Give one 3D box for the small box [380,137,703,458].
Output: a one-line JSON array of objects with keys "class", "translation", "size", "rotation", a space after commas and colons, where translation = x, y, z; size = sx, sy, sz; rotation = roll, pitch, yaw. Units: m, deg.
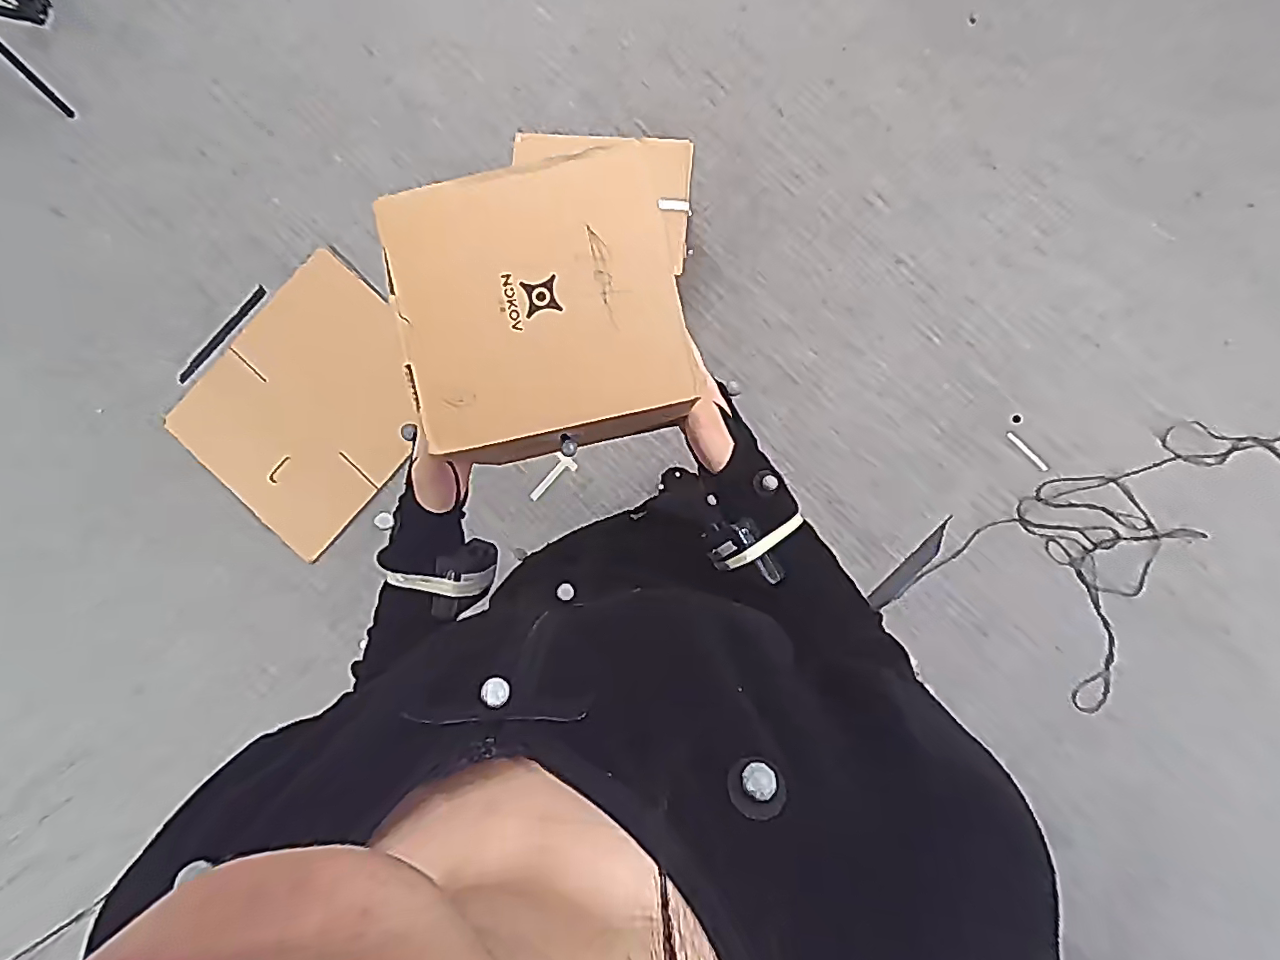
[{"class": "small box", "translation": [-0.060, -0.114, 0.413], "size": [0.179, 0.176, 0.168], "rotation": [-13, 91, 0]}]
